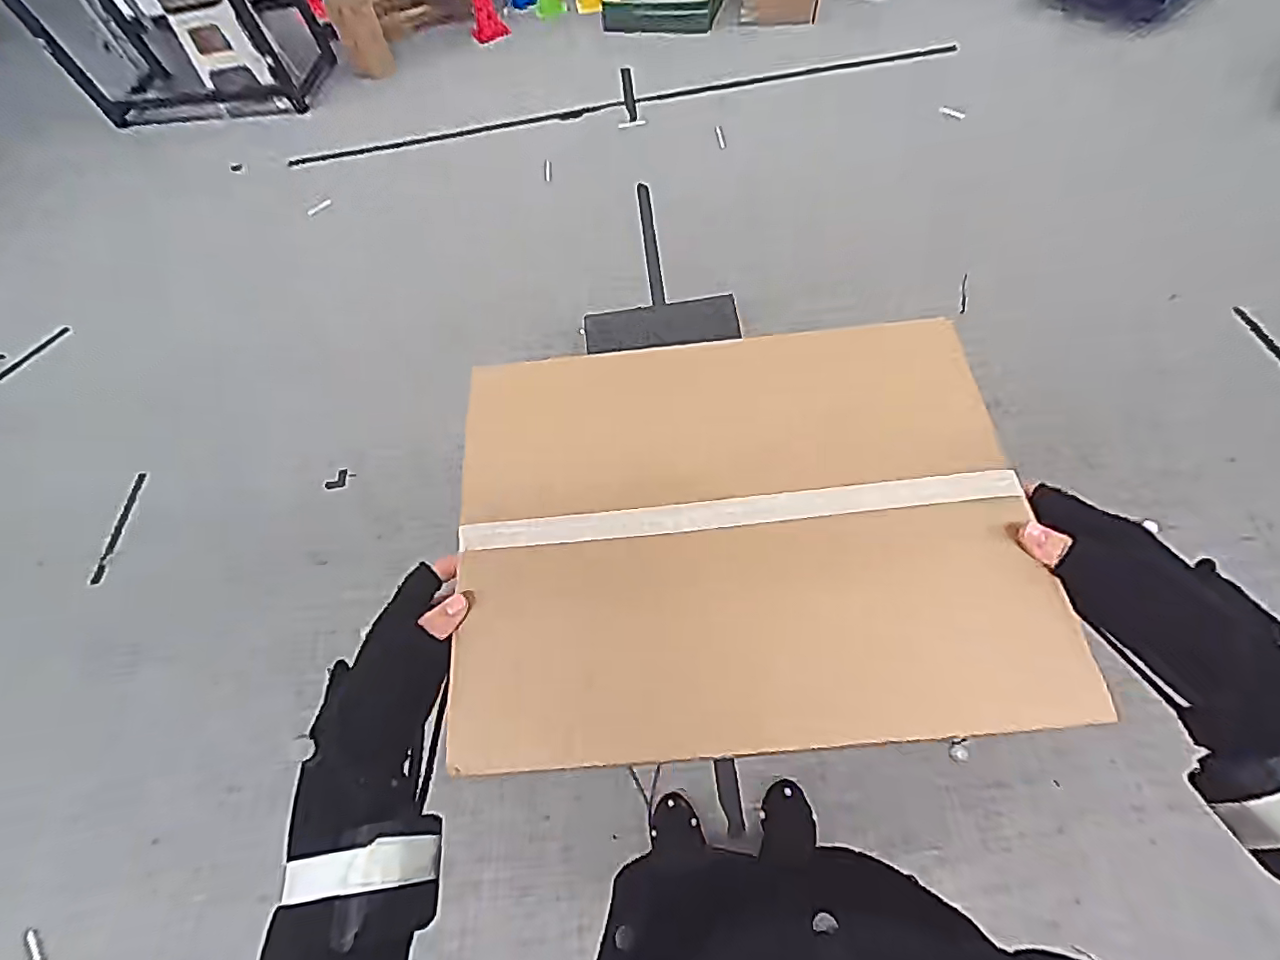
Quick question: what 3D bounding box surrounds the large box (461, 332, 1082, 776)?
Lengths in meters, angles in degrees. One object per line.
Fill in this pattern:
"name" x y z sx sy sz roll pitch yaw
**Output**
"large box" 0.081 0.092 0.538 0.408 0.320 0.320 -5 64 1
